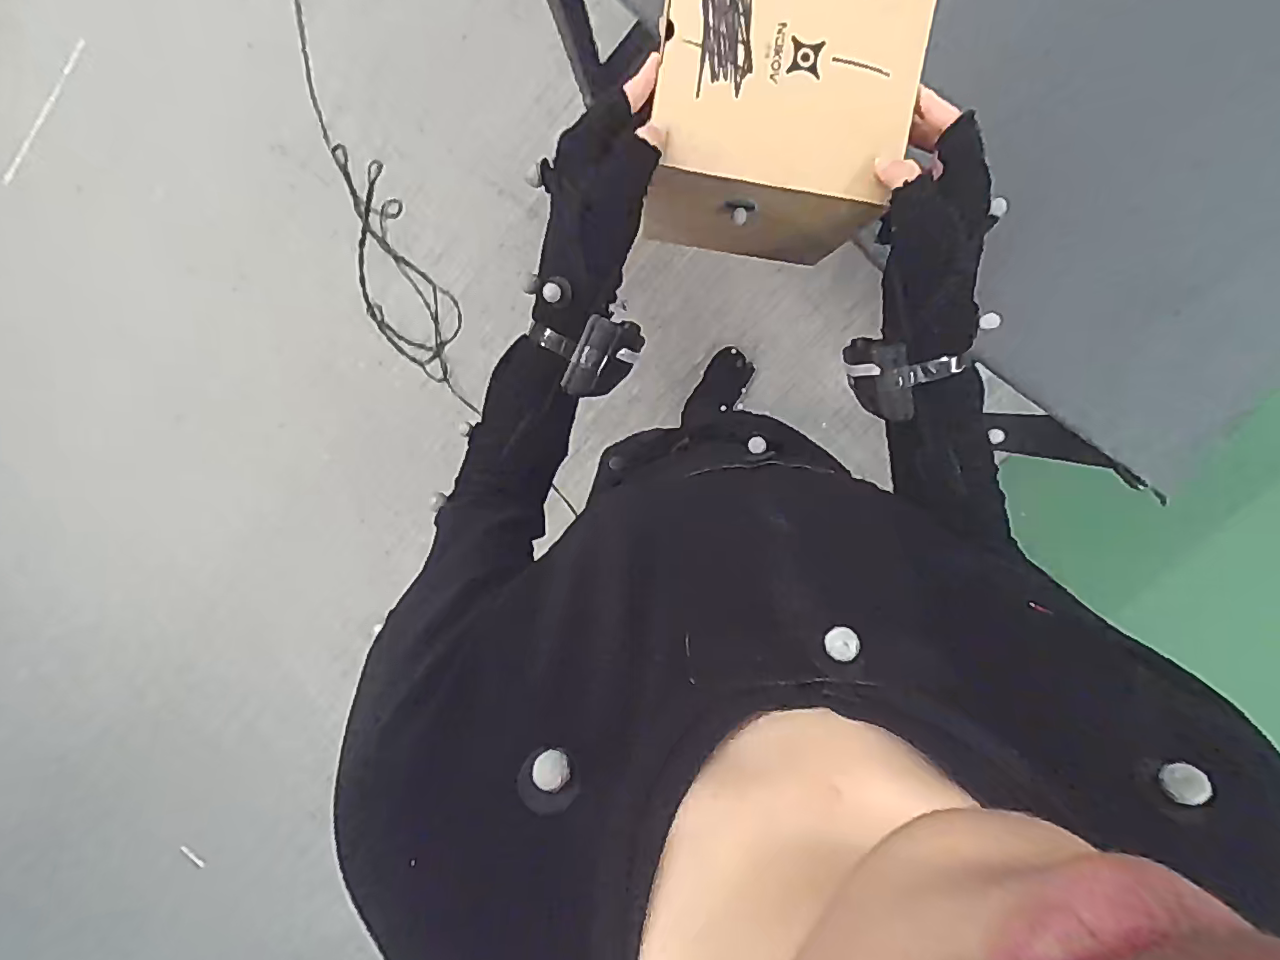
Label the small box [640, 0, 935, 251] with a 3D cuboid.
[{"bbox_3d":[0.097,-0.296,0.426,0.179,0.176,0.168,9,99,-3],"label":"small box"}]
